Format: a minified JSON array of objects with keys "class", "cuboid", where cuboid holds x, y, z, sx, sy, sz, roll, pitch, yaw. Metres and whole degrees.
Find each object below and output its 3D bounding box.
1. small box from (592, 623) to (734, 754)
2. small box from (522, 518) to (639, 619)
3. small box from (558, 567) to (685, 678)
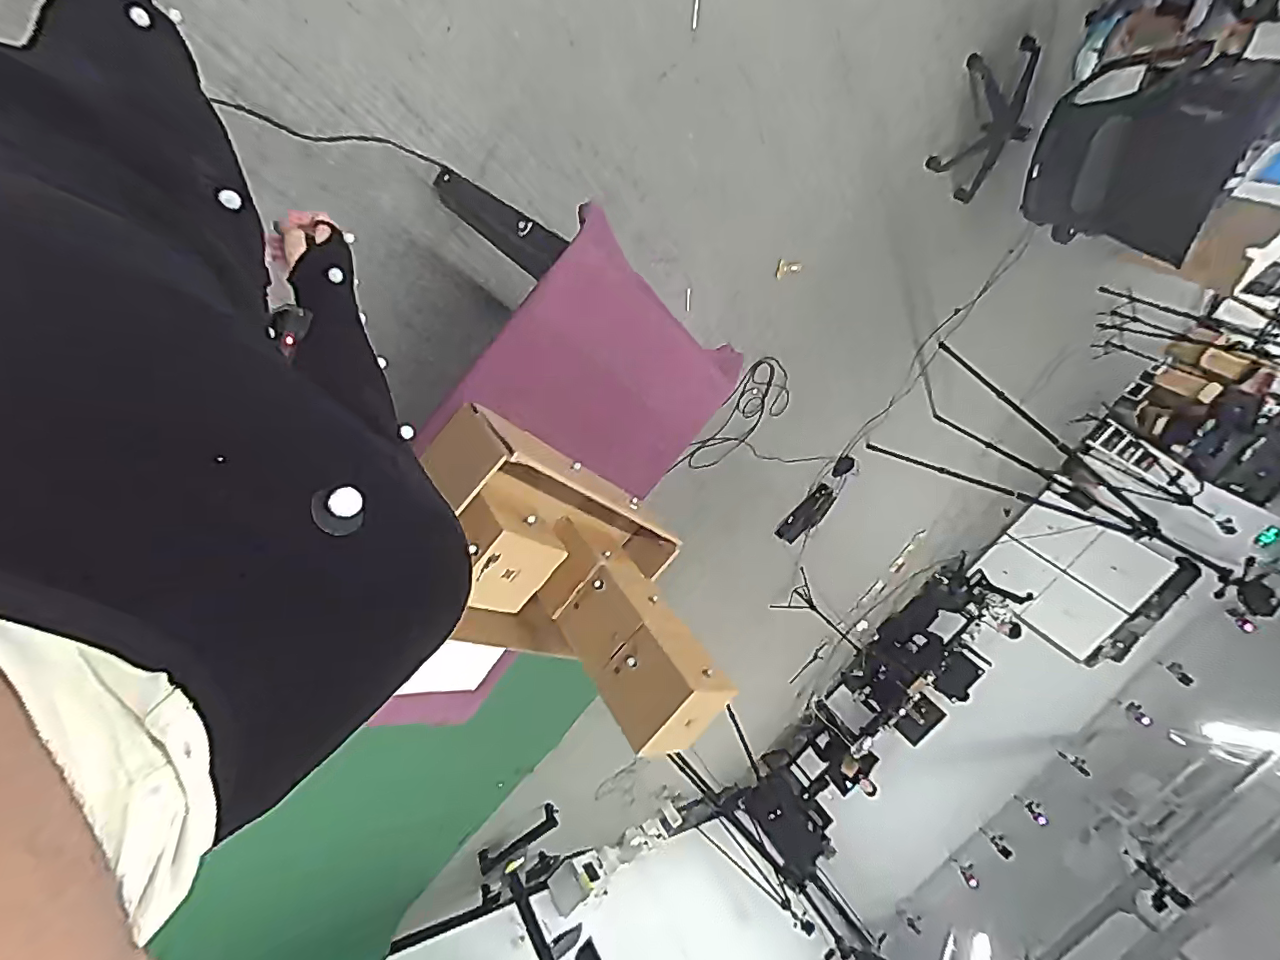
[{"class":"small box","cuboid":[0.043,0.399,1.049,0.168,0.176,0.179,-51,140,8]},{"class":"small box","cuboid":[-0.136,0.211,1.248,0.168,0.176,0.179,-50,140,8]},{"class":"small box","cuboid":[-0.043,0.306,1.151,0.168,0.176,0.179,-50,141,9]}]
